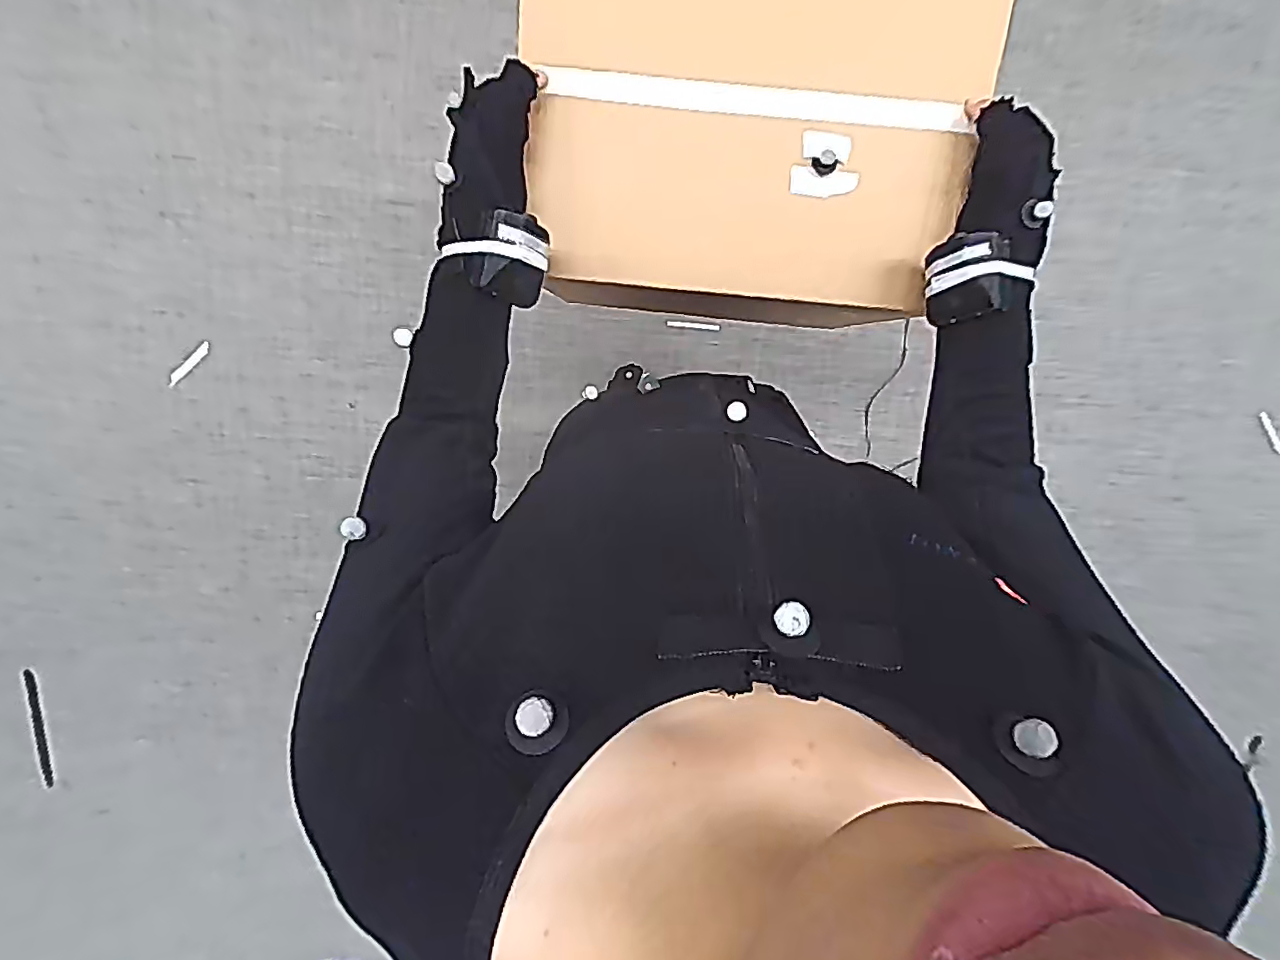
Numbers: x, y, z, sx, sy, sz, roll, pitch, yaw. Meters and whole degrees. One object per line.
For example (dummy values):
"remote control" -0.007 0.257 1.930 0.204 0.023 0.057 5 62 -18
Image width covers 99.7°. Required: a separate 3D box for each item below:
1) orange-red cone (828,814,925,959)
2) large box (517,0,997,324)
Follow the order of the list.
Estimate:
"orange-red cone" 0.700 1.172 1.541 0.198 0.360 0.199 2 100 -1
"large box" 0.092 -0.359 0.614 0.408 0.320 0.320 5 103 -1
